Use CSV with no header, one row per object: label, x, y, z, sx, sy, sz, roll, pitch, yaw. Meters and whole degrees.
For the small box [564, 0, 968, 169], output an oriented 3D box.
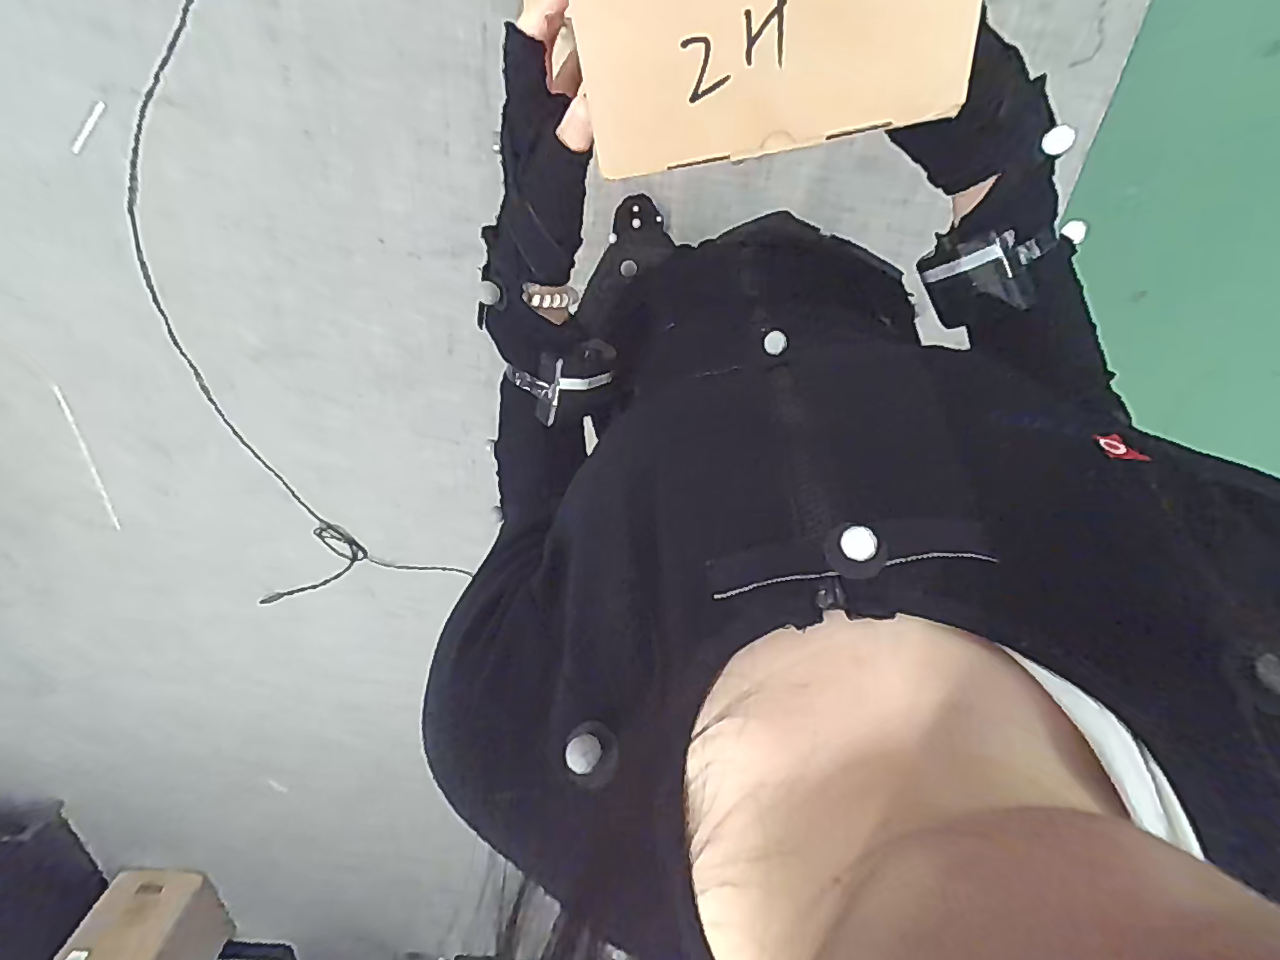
small box,0.043,-0.272,0.261,0.168,0.176,0.179,-8,127,5
